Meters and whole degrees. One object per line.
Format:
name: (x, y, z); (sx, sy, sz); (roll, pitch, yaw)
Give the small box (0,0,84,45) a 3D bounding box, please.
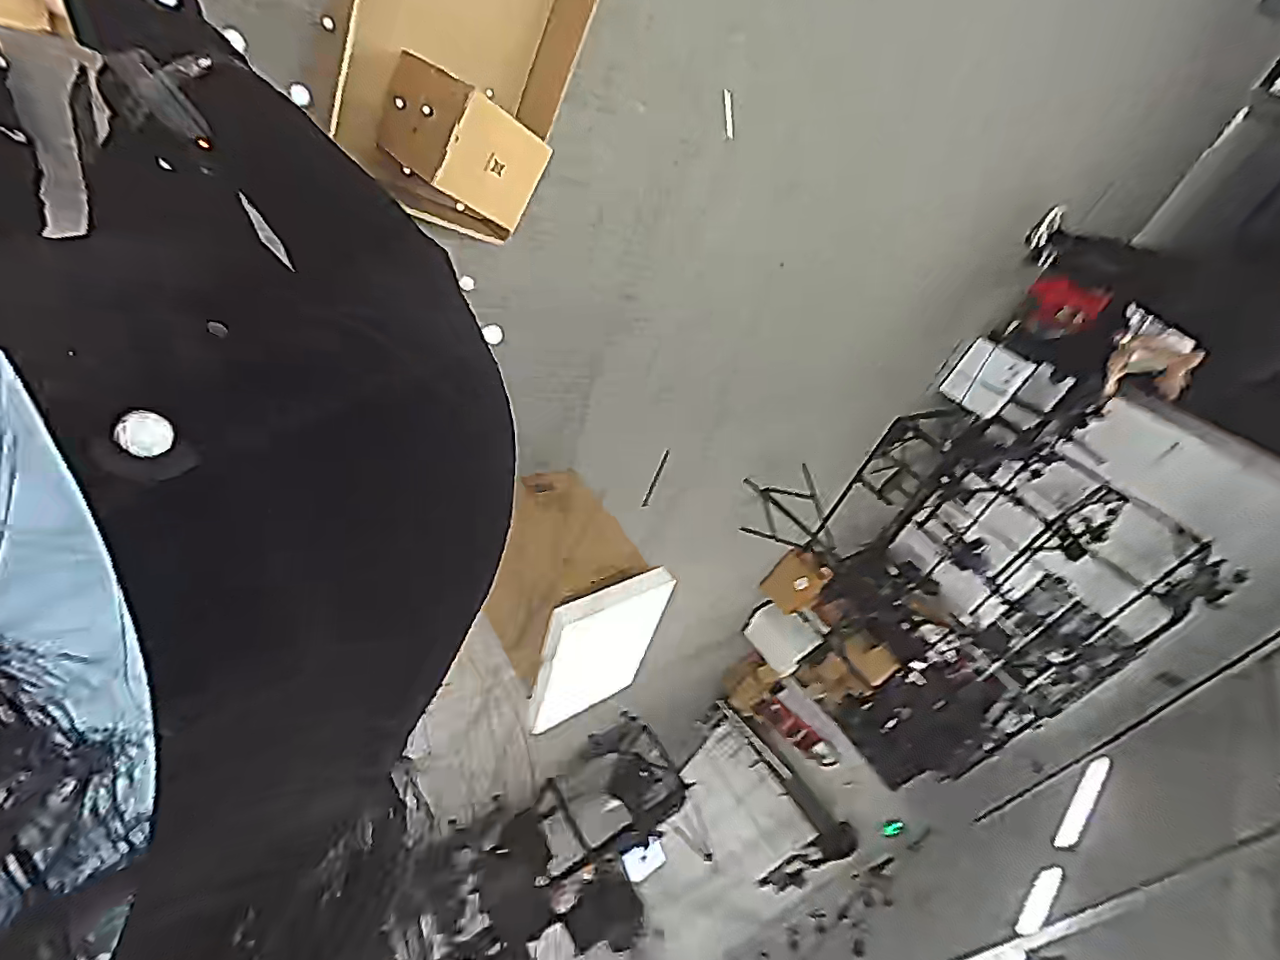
small box: (-0.501, -0.420, 0.353); (0.168, 0.176, 0.179); (-9, 127, -38)
